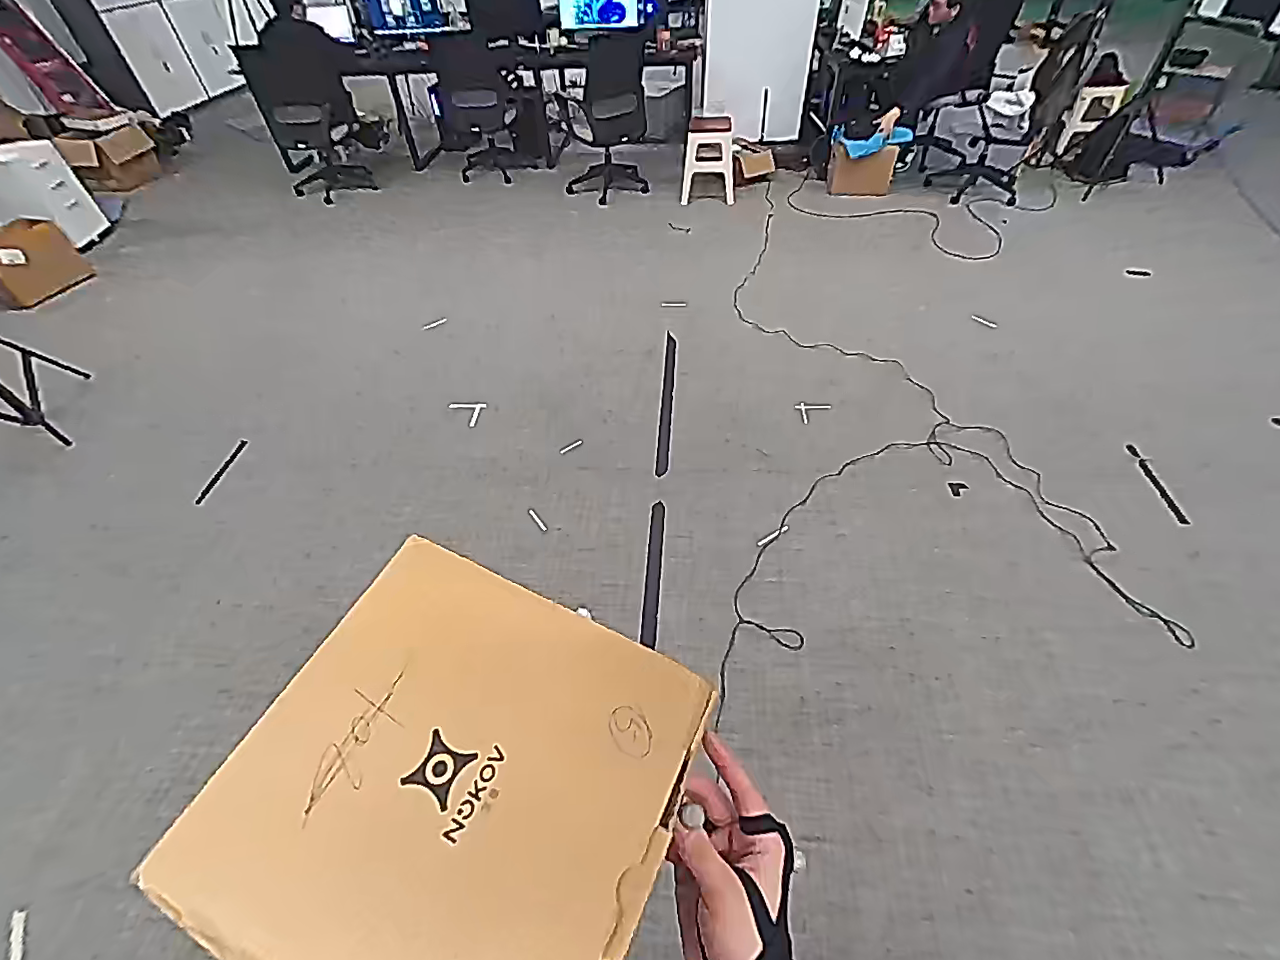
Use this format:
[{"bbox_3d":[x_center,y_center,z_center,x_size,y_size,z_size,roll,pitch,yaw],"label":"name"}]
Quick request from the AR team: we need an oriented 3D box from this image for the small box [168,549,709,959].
[{"bbox_3d":[-0.077,0.172,0.301,0.179,0.176,0.168,21,58,16],"label":"small box"}]
